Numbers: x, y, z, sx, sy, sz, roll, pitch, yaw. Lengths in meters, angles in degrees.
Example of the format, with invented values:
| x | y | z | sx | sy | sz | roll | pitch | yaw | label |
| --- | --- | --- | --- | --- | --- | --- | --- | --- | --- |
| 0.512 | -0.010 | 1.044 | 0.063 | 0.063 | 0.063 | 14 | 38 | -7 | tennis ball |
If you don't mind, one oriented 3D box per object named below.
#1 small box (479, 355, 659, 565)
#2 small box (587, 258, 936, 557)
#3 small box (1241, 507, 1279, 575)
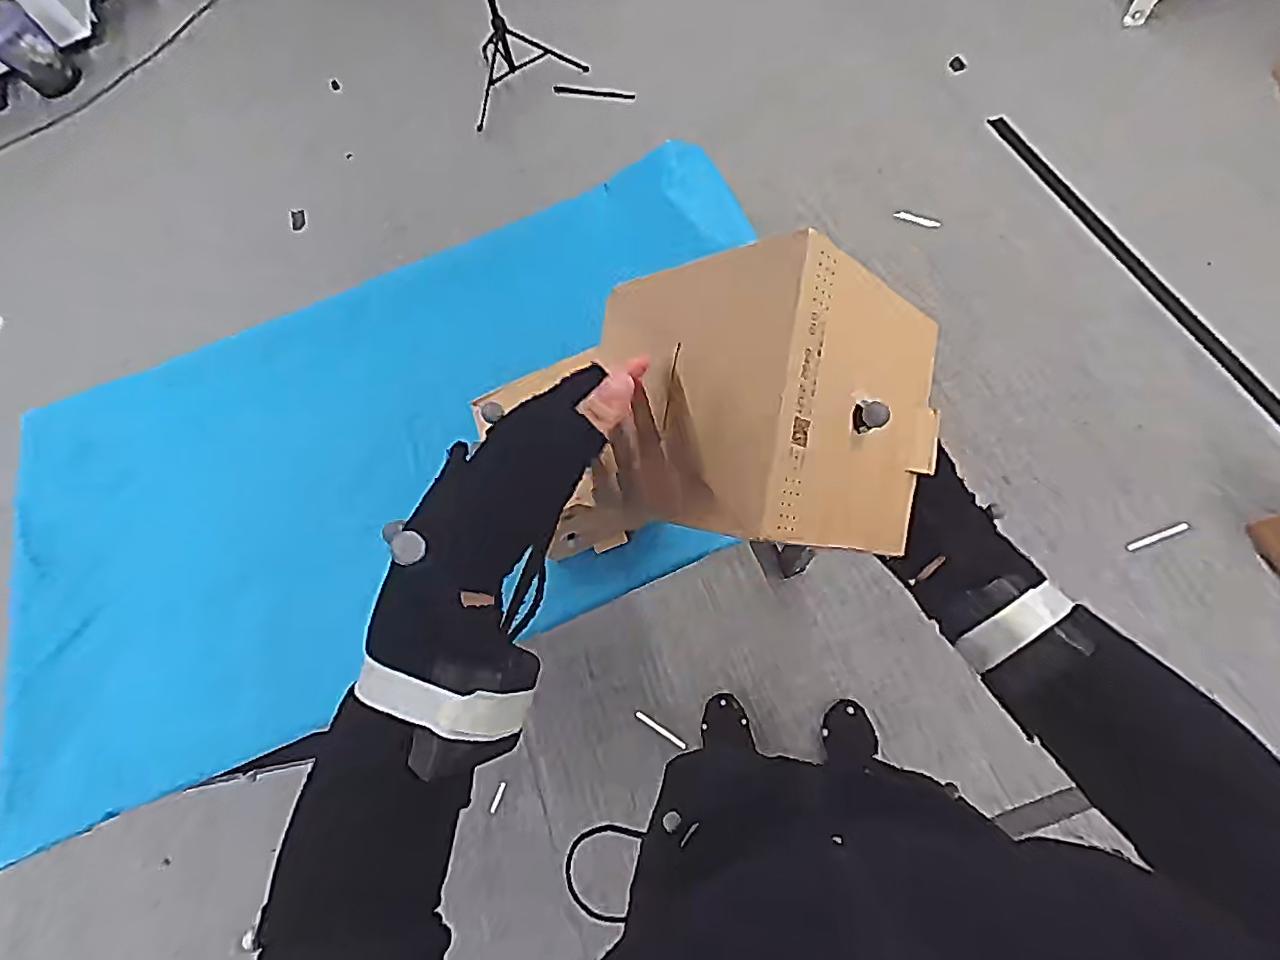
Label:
| x | y | z | sx | sy | sz | roll | pitch | yaw | label |
| --- | --- | --- | --- | --- | --- | --- | --- | --- | --- |
| -0.079 | -0.019 | 0.674 | 0.168 | 0.176 | 0.179 | -23 | 68 | 0 | small box |
| 0.084 | -0.041 | 0.399 | 0.179 | 0.176 | 0.168 | 8 | 87 | 51 | small box |
| 1.503 | 0.124 | 1.170 | 0.168 | 0.176 | 0.179 | -20 | 68 | 0 | small box |
